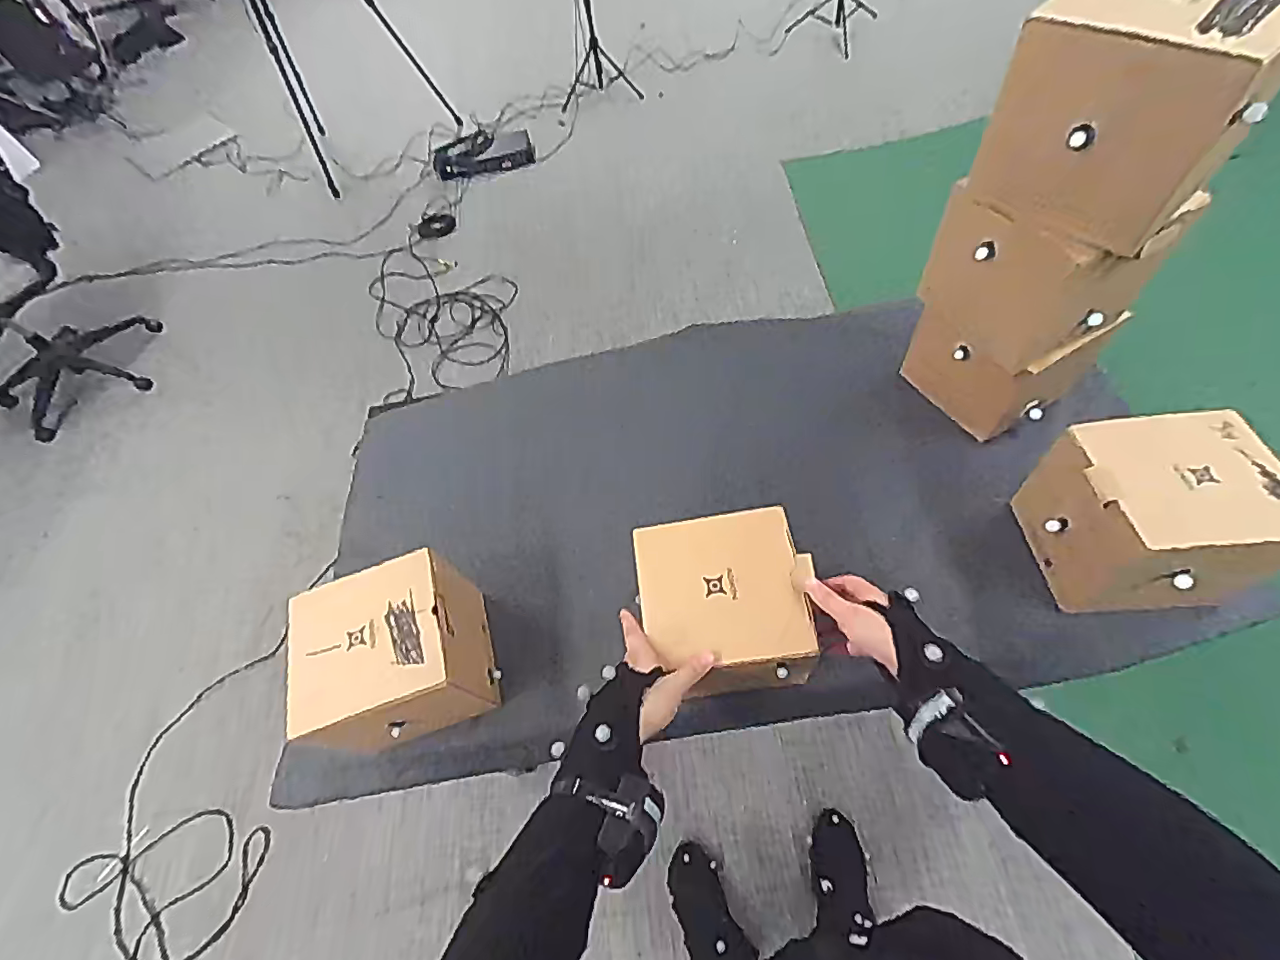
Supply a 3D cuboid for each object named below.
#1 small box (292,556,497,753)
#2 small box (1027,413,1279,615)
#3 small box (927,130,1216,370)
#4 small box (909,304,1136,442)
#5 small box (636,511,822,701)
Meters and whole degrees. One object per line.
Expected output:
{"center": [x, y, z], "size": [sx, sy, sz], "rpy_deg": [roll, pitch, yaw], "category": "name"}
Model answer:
{"center": [-0.290, 0.221, 0.669], "size": [0.179, 0.176, 0.168], "rpy_deg": [-20, 59, -2], "category": "small box"}
{"center": [0.588, 0.047, 0.623], "size": [0.179, 0.176, 0.168], "rpy_deg": [-6, 54, 7], "category": "small box"}
{"center": [0.480, -0.266, 0.642], "size": [0.168, 0.176, 0.179], "rpy_deg": [-27, 59, -3], "category": "small box"}
{"center": [0.528, -0.188, 0.781], "size": [0.168, 0.176, 0.179], "rpy_deg": [-30, 61, -6], "category": "small box"}
{"center": [0.101, 0.158, 0.644], "size": [0.179, 0.176, 0.168], "rpy_deg": [-10, 59, 5], "category": "small box"}
